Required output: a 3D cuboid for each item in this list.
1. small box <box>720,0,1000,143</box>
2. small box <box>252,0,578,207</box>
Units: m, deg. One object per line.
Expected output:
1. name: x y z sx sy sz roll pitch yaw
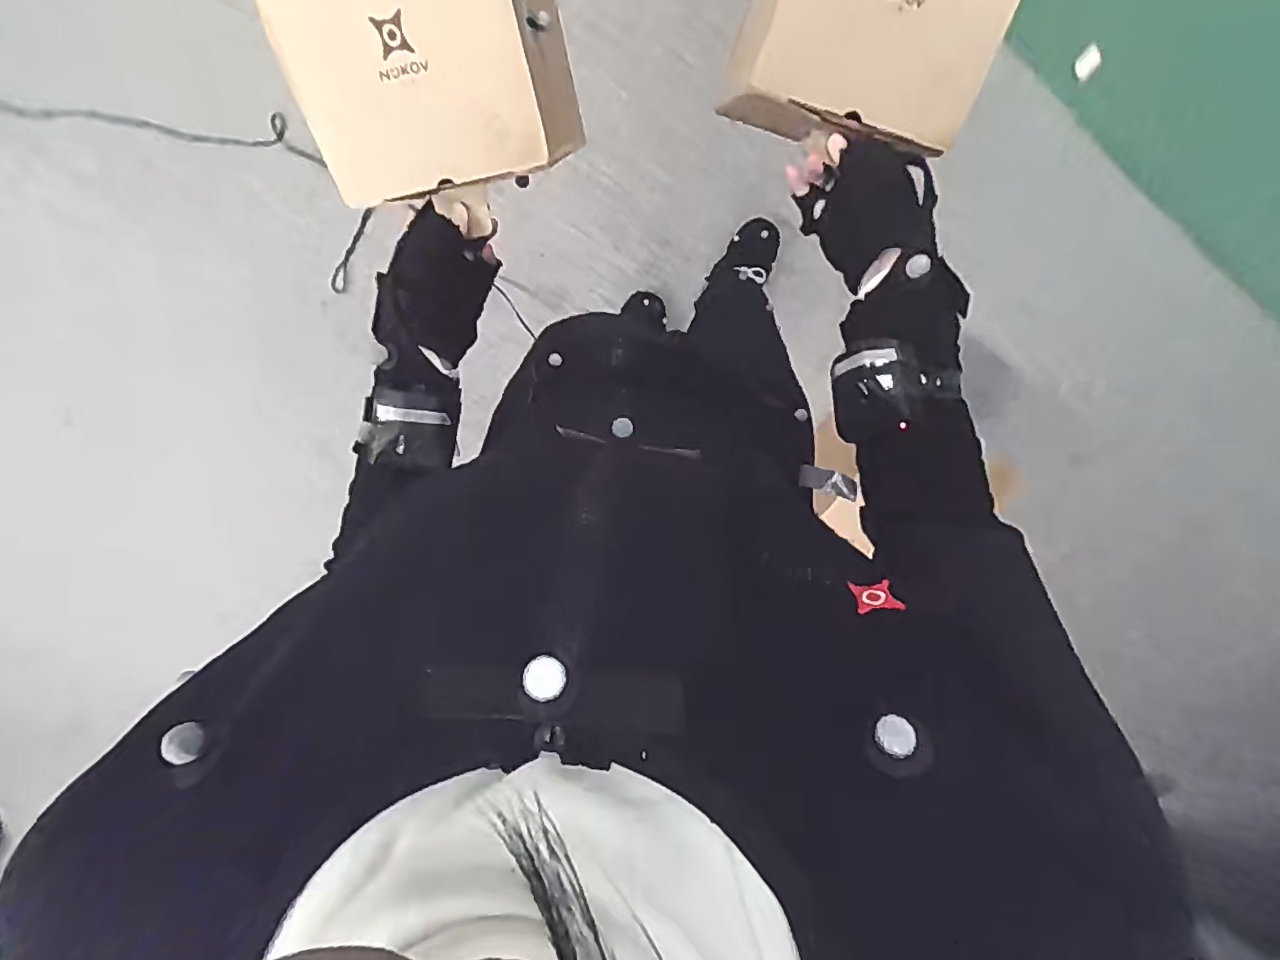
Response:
1. small box: 0.171 -0.392 0.438 0.168 0.176 0.179 11 119 -9
2. small box: -0.156 -0.336 0.418 0.168 0.176 0.179 -9 124 10
